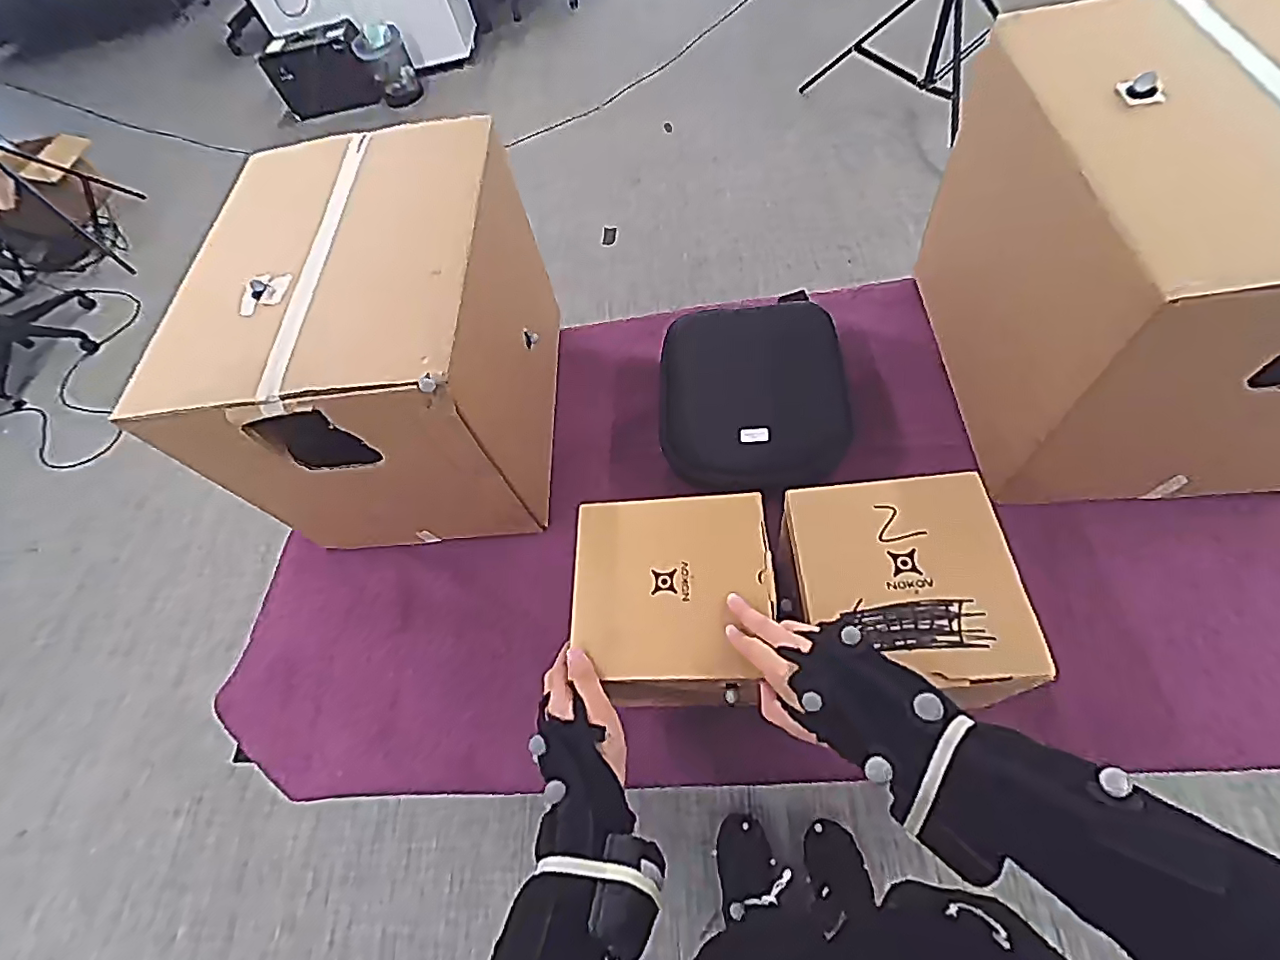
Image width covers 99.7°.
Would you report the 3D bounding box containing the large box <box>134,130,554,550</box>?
[{"bbox_3d":[-0.298,-0.160,0.694,0.320,0.320,0.408,-6,62,6],"label":"large box"}]
